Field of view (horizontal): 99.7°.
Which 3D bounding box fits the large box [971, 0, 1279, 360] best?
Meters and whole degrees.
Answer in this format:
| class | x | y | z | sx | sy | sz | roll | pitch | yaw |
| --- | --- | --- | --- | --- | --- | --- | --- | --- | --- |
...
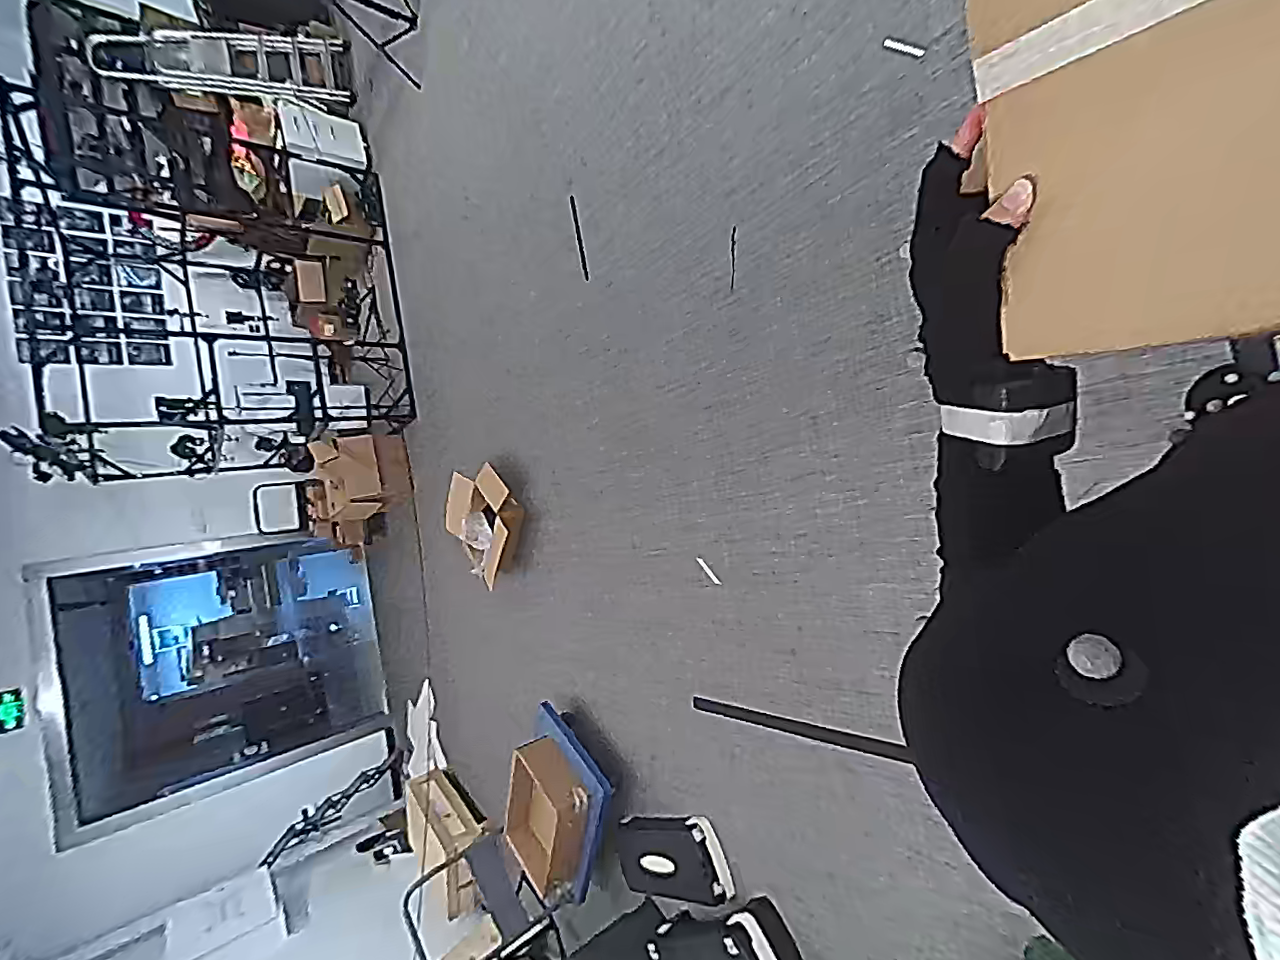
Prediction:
| class | x | y | z | sx | sy | sz | roll | pitch | yaw |
| --- | --- | --- | --- | --- | --- | --- | --- | --- | --- |
| large box | 0.422 | -0.267 | 0.230 | 0.408 | 0.320 | 0.320 | 5 | 119 | 52 |
